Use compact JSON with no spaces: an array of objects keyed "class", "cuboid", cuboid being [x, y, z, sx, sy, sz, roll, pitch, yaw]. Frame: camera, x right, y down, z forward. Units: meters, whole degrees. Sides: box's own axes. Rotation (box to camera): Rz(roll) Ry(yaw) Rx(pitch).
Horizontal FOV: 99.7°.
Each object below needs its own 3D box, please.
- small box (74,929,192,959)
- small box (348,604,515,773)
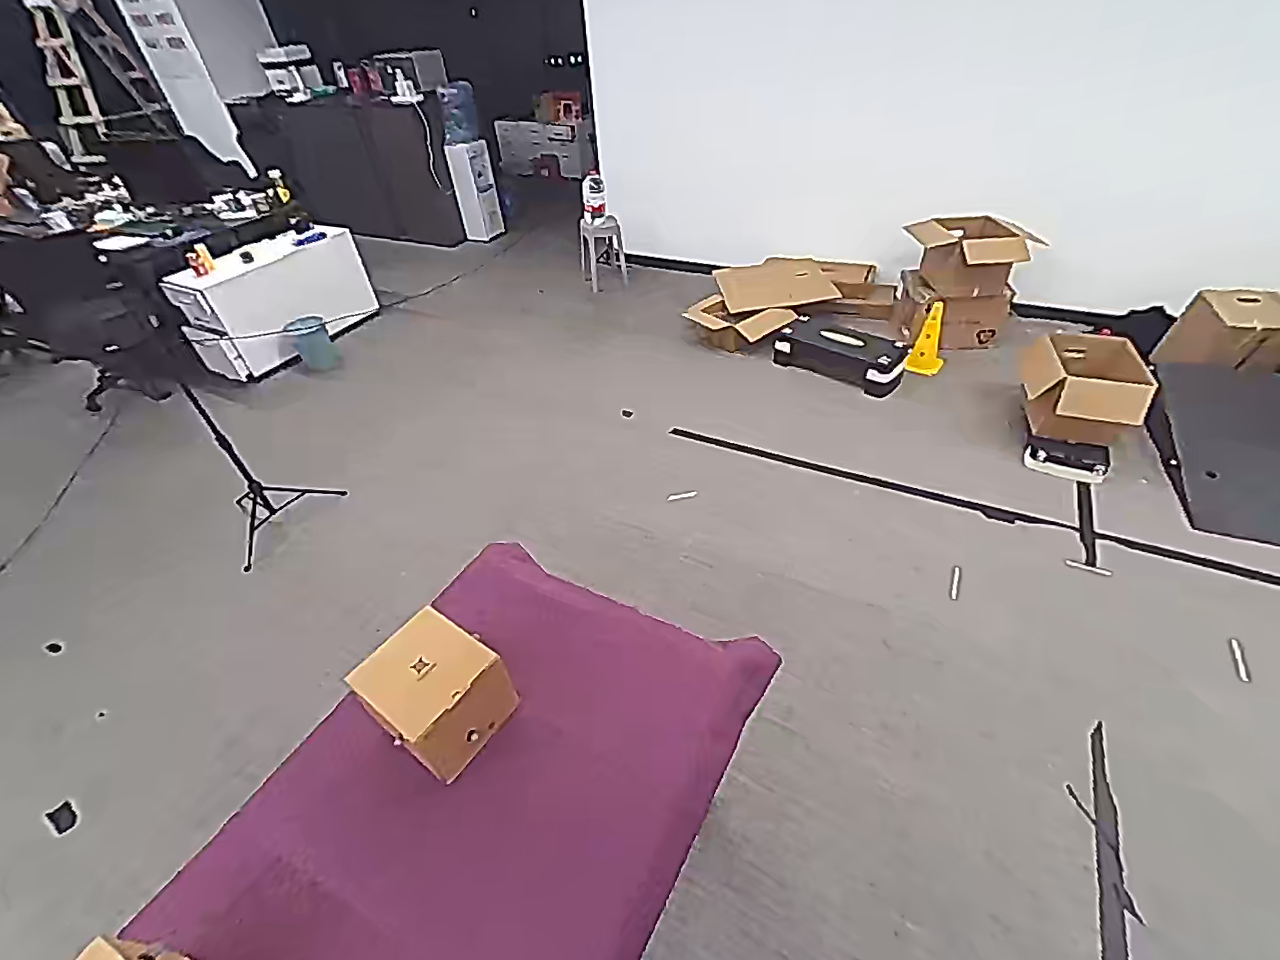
[{"class":"small box","cuboid":[-0.567,0.643,0.587,0.179,0.176,0.168,15,45,20]},{"class":"small box","cuboid":[-0.336,0.348,0.900,0.179,0.176,0.168,23,49,26]}]
